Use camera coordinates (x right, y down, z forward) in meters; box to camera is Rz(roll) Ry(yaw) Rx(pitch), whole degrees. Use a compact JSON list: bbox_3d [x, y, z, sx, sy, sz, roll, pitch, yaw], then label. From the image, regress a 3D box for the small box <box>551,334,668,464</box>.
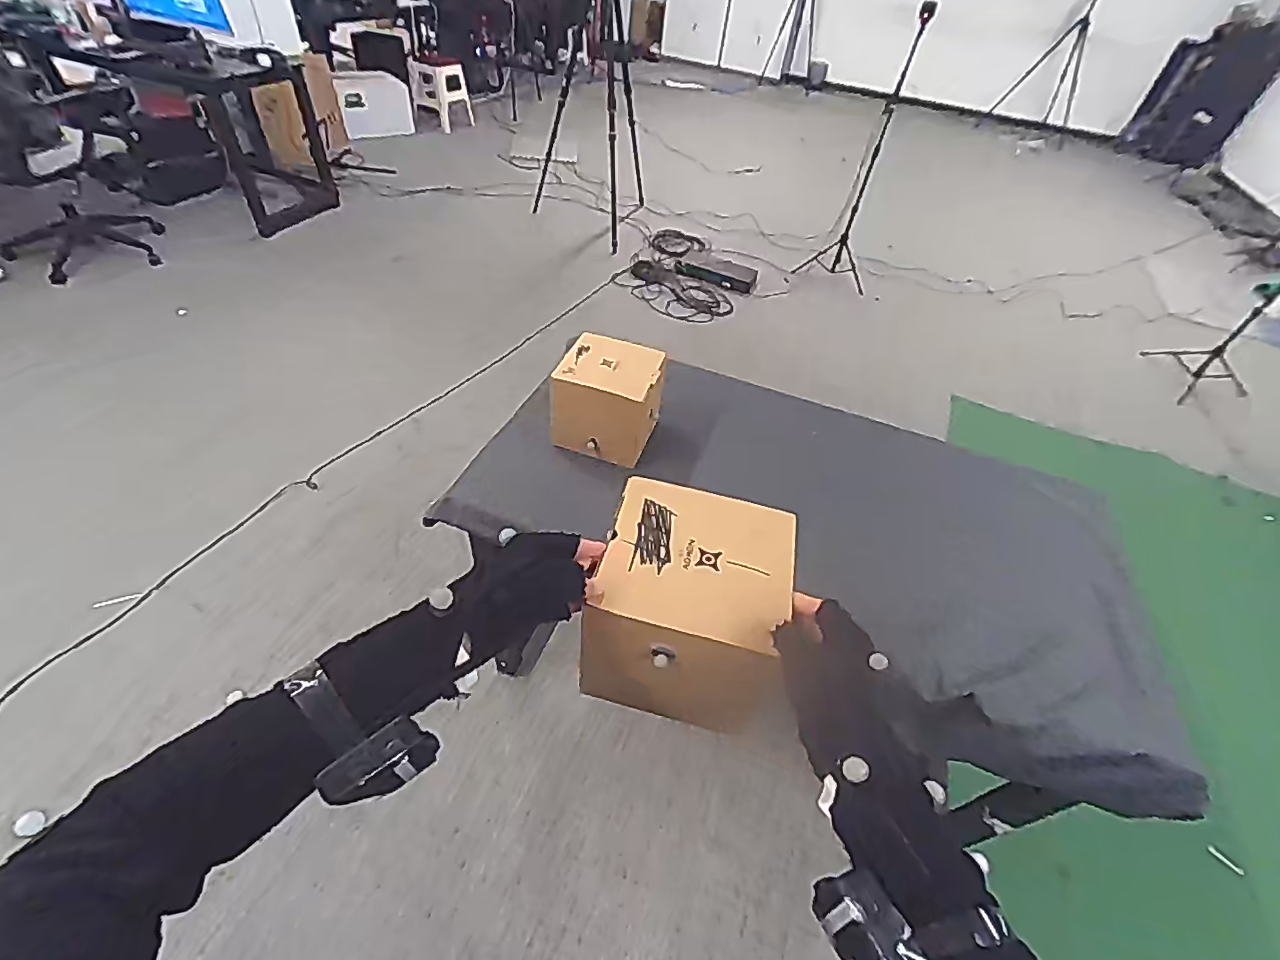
[{"bbox_3d":[-0.061,-0.154,1.061,0.179,0.176,0.168,18,47,8],"label":"small box"}]
